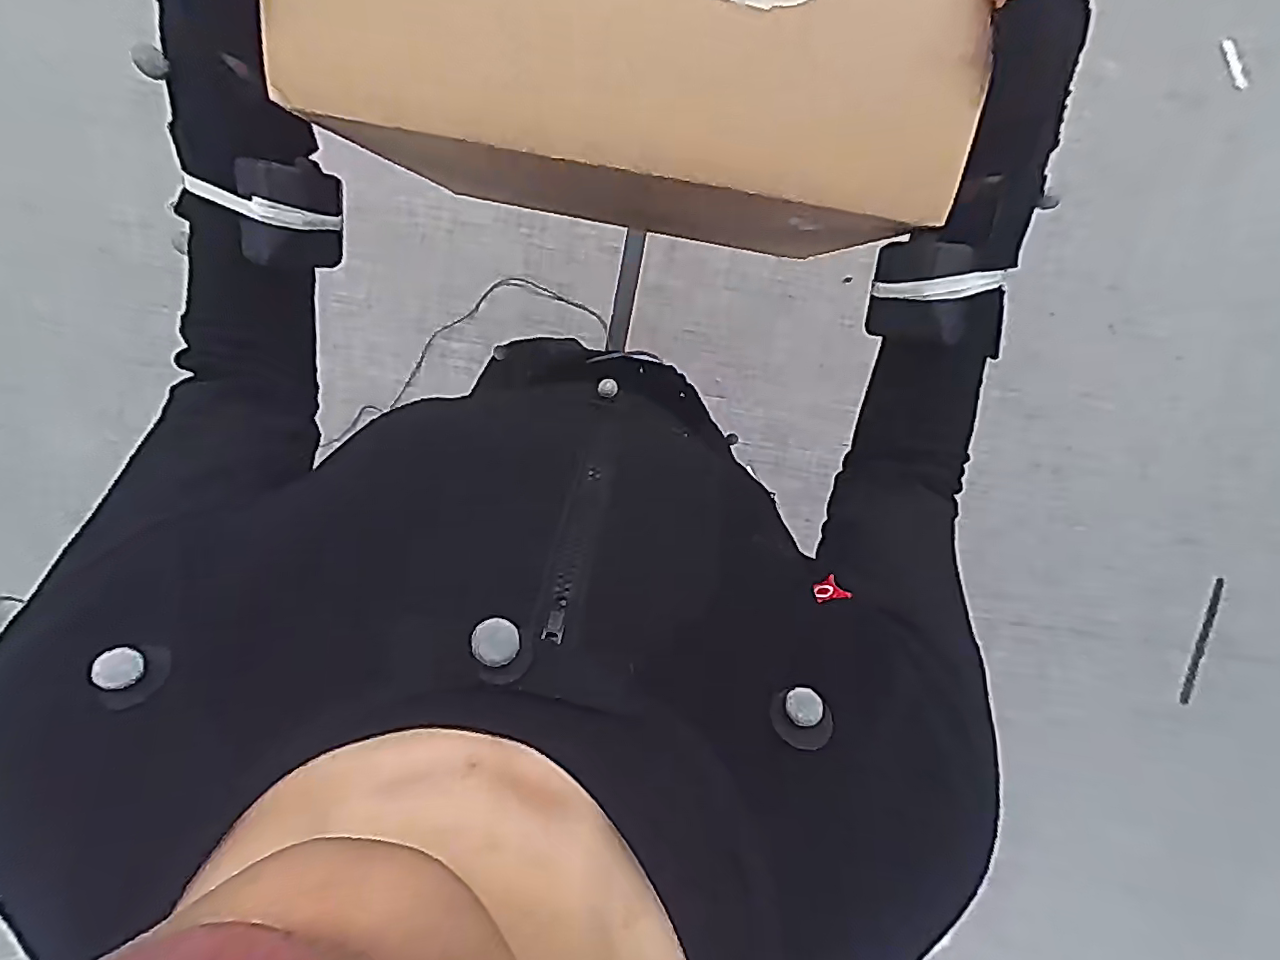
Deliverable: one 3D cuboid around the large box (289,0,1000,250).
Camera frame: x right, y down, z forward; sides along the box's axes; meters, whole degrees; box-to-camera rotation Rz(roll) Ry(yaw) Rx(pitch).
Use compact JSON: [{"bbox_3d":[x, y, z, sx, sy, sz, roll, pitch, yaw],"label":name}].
[{"bbox_3d":[0.012,-0.382,0.422,0.408,0.320,0.320,9,110,-3],"label":"large box"}]
